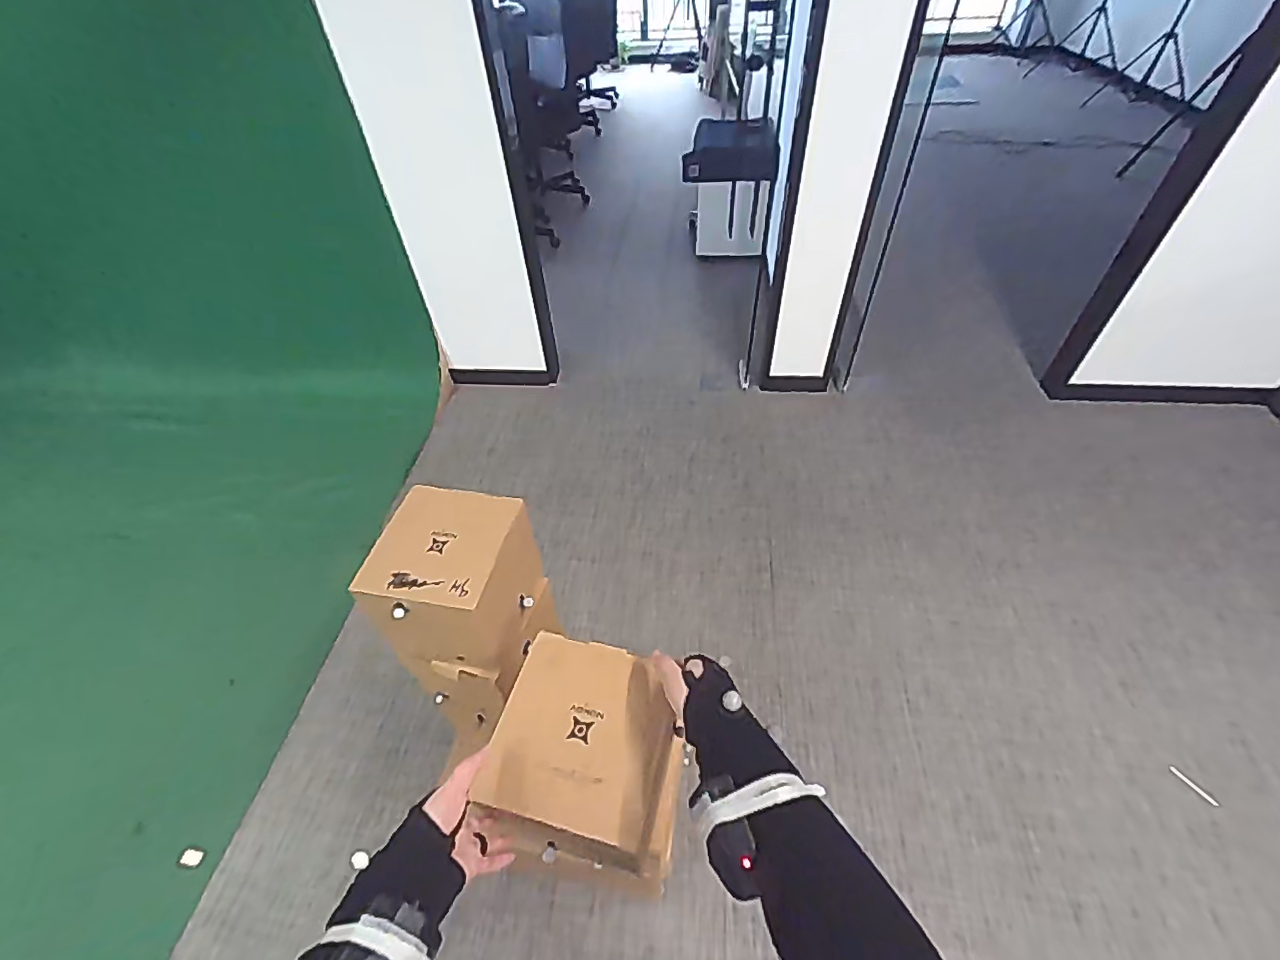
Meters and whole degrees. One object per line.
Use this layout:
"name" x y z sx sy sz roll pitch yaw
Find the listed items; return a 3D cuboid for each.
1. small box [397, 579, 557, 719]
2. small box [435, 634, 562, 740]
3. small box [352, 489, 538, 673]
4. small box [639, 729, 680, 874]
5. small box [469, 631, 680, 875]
"small box" -0.243 0.259 0.867 0.168 0.176 0.179 12 47 14
"small box" -0.233 0.373 0.984 0.179 0.176 0.168 11 49 12
"small box" -0.251 0.139 0.752 0.168 0.176 0.179 7 46 10
"small box" -0.026 0.499 0.854 0.168 0.176 0.179 5 47 7
"small box" -0.057 0.299 0.594 0.168 0.176 0.179 10 49 12
